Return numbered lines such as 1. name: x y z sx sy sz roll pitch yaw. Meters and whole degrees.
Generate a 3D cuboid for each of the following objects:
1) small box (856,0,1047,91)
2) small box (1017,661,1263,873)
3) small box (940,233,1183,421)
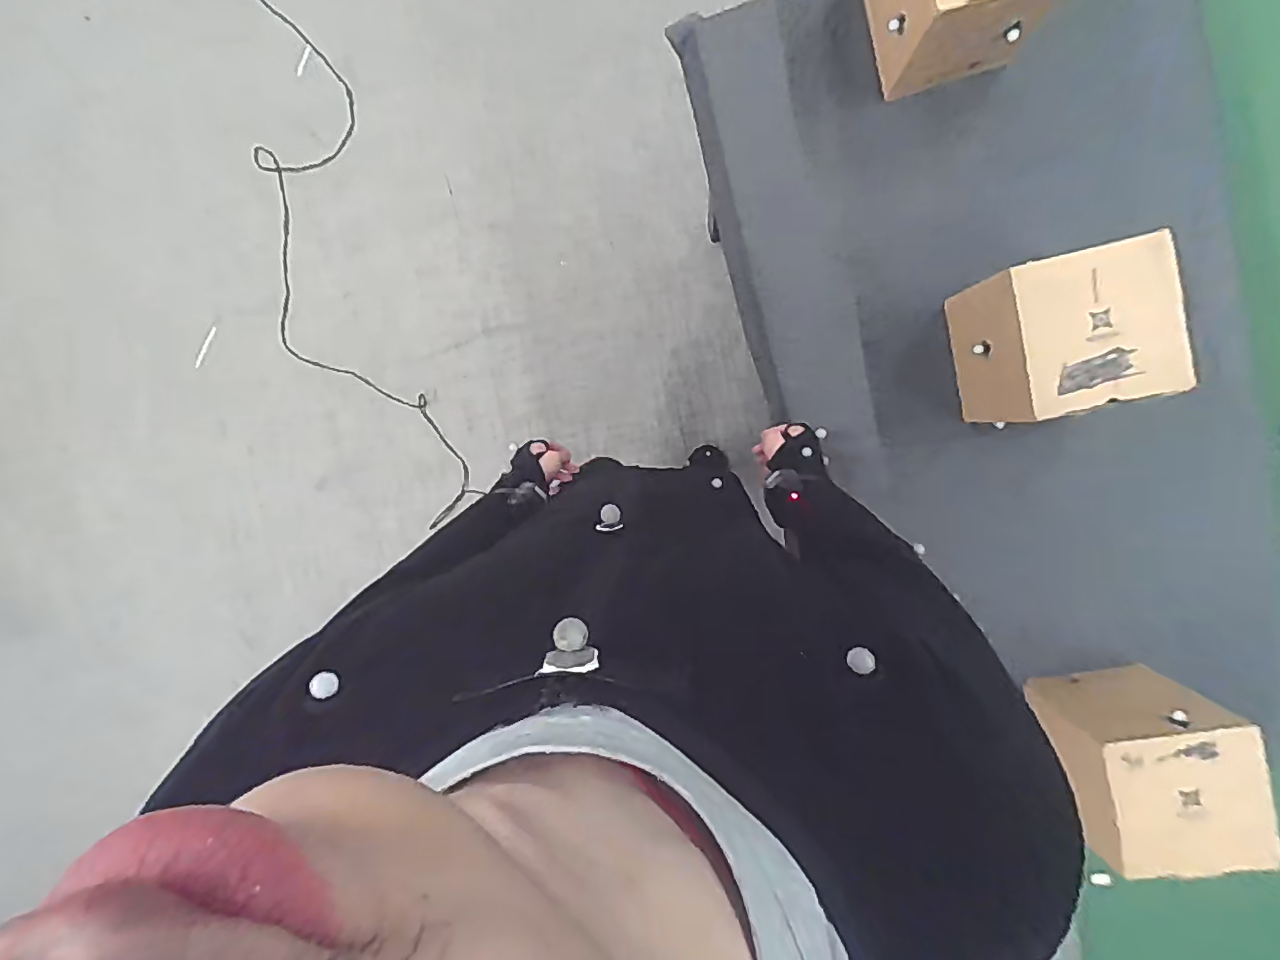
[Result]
1. small box: 0.375 -0.606 0.642 0.168 0.176 0.179 -14 93 5
2. small box: 0.640 0.366 0.714 0.168 0.176 0.179 -12 95 6
3. small box: 0.505 -0.175 0.673 0.168 0.176 0.179 -12 94 5
